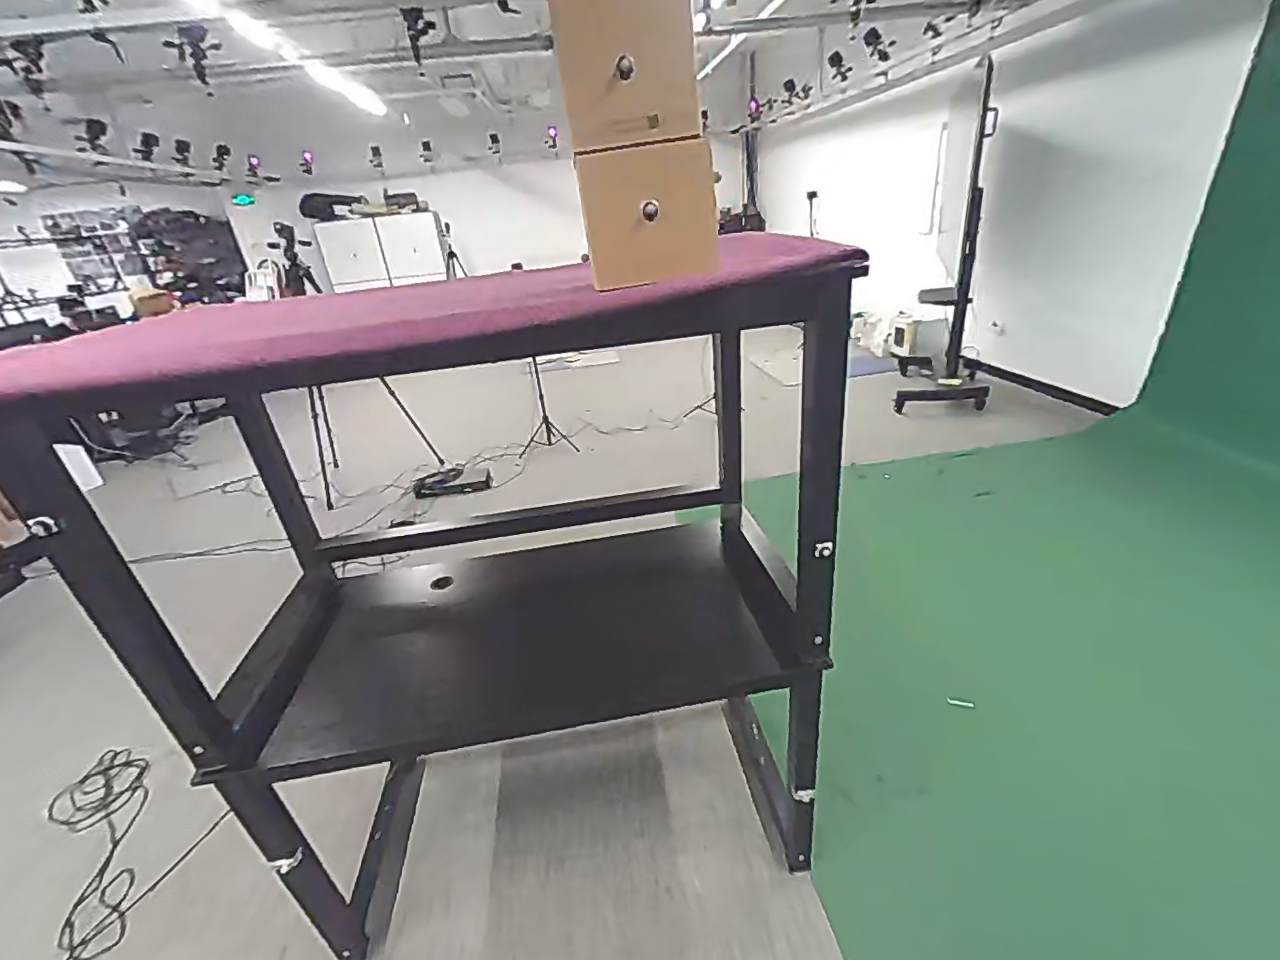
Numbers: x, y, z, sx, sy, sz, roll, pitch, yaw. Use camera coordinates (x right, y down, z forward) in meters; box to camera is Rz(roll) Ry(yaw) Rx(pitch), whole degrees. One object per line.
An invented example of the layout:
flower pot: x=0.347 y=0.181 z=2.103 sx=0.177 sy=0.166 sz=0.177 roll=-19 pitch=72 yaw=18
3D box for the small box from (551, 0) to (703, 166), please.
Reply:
small box: x=-0.017 y=-0.527 z=0.709 sx=0.168 sy=0.176 sz=0.179 roll=-9 pitch=25 yaw=-2
